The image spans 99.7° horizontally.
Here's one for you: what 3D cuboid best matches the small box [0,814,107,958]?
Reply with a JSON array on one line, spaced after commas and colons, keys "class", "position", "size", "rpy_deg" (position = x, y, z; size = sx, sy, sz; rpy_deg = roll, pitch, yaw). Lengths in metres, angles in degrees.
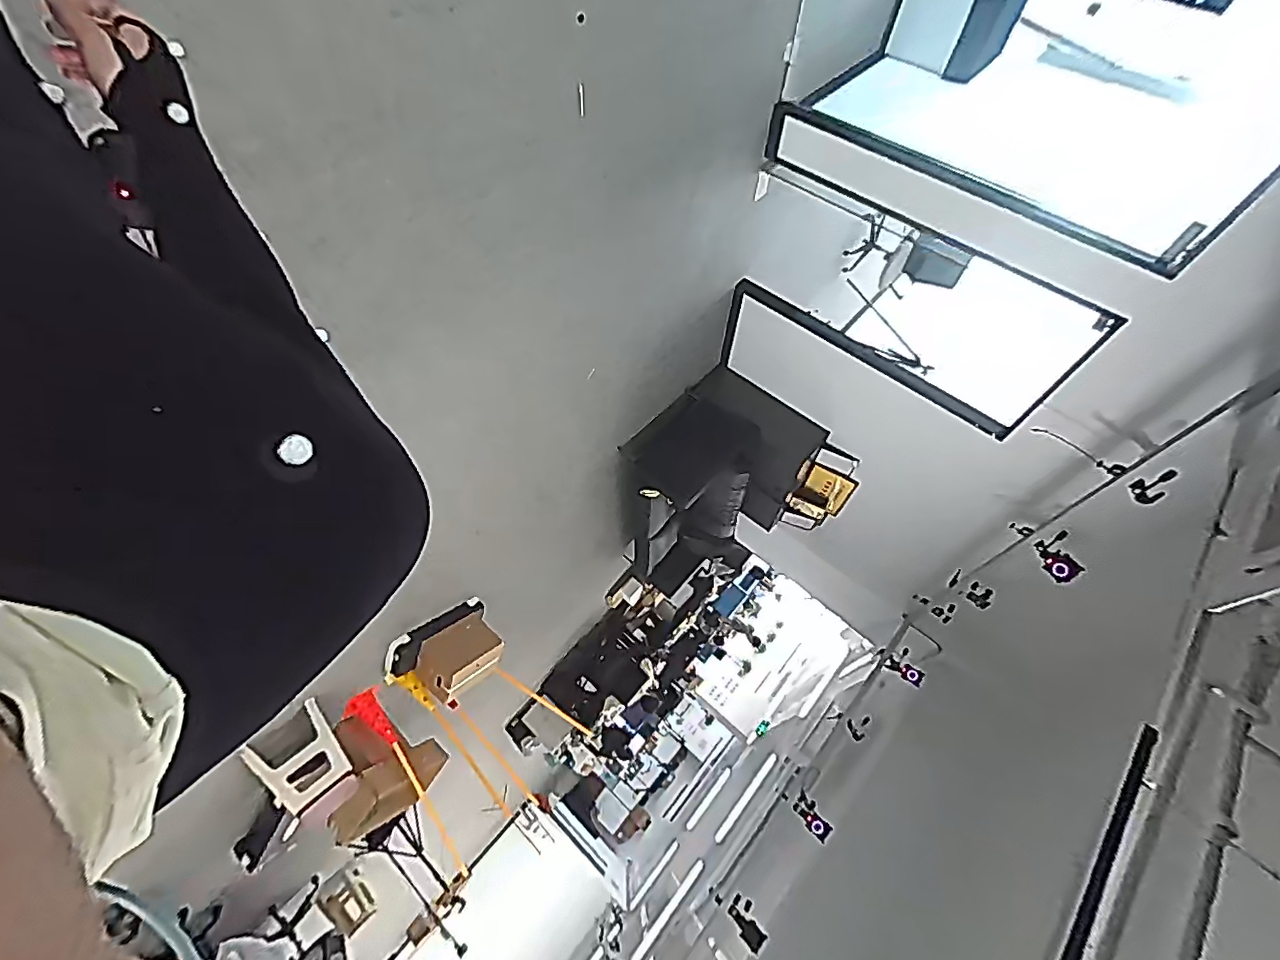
[{"class": "small box", "position": [-1.240, 0.804, 1.068], "size": [0.179, 0.176, 0.168], "rpy_deg": [-46, 160, -17]}]
